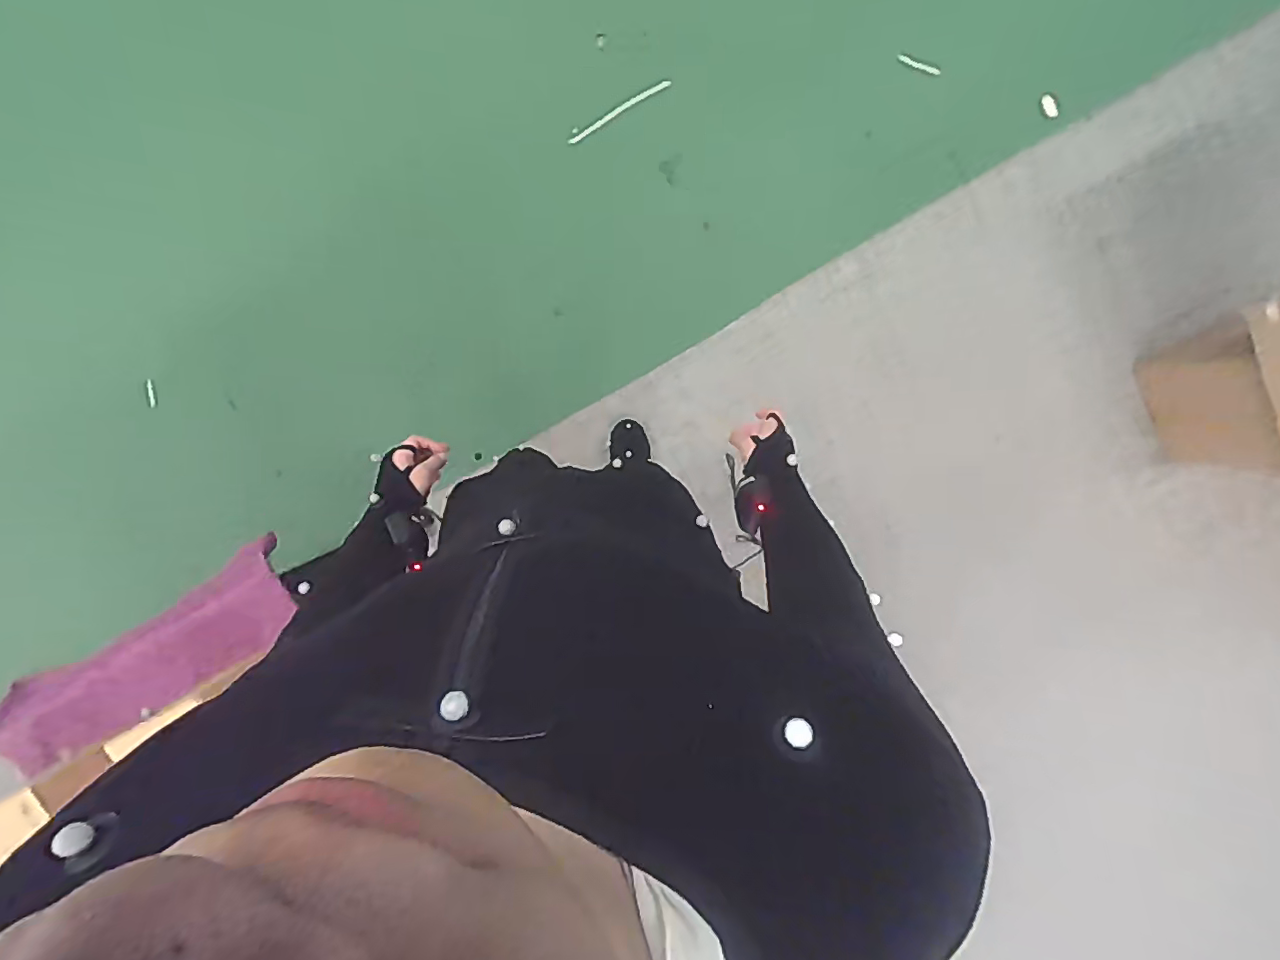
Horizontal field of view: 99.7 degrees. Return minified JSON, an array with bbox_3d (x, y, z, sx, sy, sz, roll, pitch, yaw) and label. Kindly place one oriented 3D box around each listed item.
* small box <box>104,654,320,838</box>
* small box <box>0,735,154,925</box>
[{"bbox_3d":[-0.672,0.417,0.872,0.179,0.176,0.168,-29,97,5],"label":"small box"},{"bbox_3d":[-0.949,0.569,0.901,0.179,0.176,0.168,-28,97,5],"label":"small box"}]
